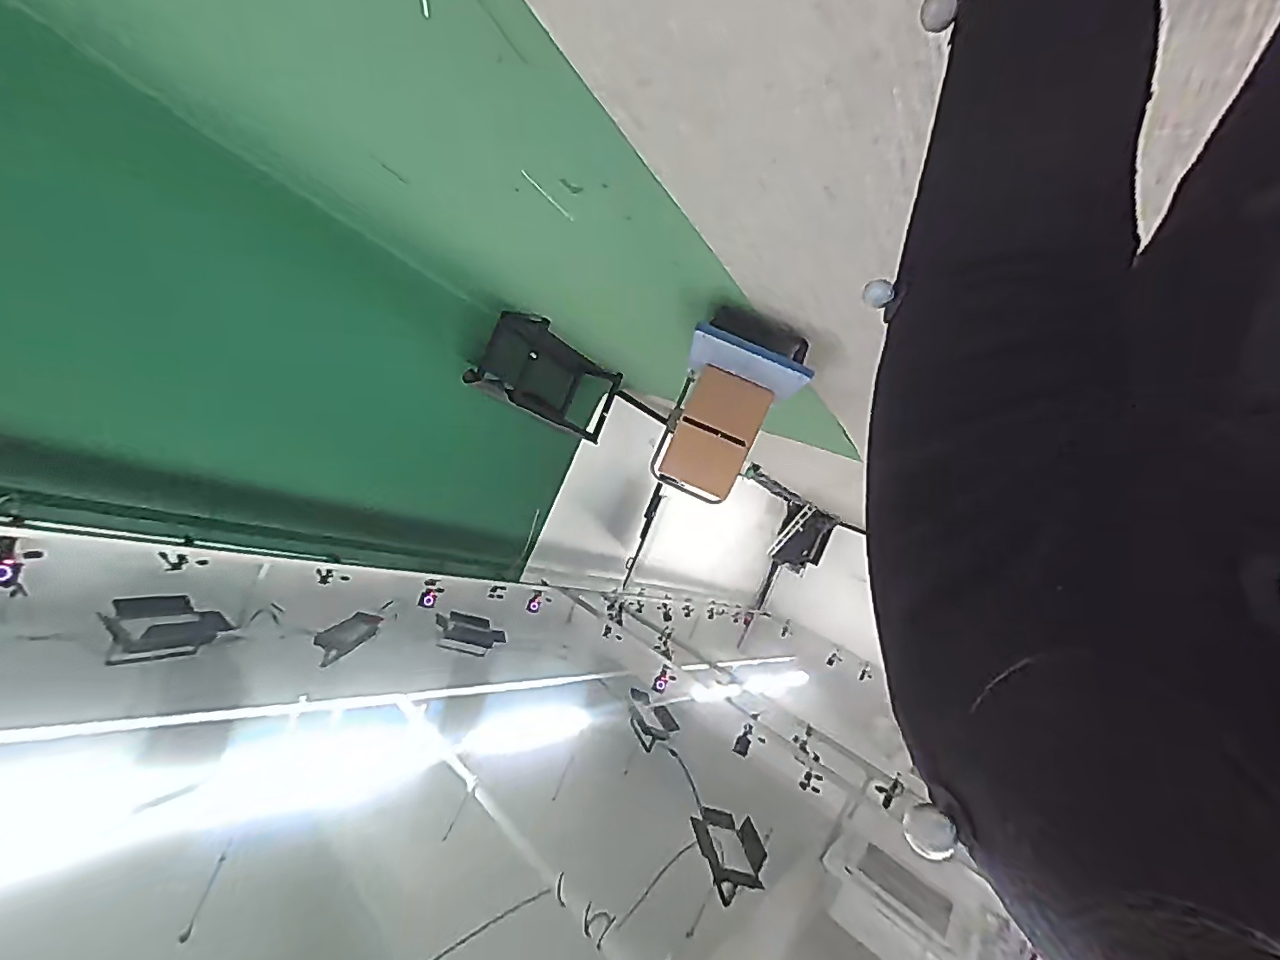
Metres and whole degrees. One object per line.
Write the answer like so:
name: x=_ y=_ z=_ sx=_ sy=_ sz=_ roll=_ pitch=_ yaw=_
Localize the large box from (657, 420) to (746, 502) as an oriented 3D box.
large box: x=0.348 y=-0.108 z=3.040 sx=0.408 sy=0.320 sz=0.320 roll=25 pitch=-176 yaw=5
